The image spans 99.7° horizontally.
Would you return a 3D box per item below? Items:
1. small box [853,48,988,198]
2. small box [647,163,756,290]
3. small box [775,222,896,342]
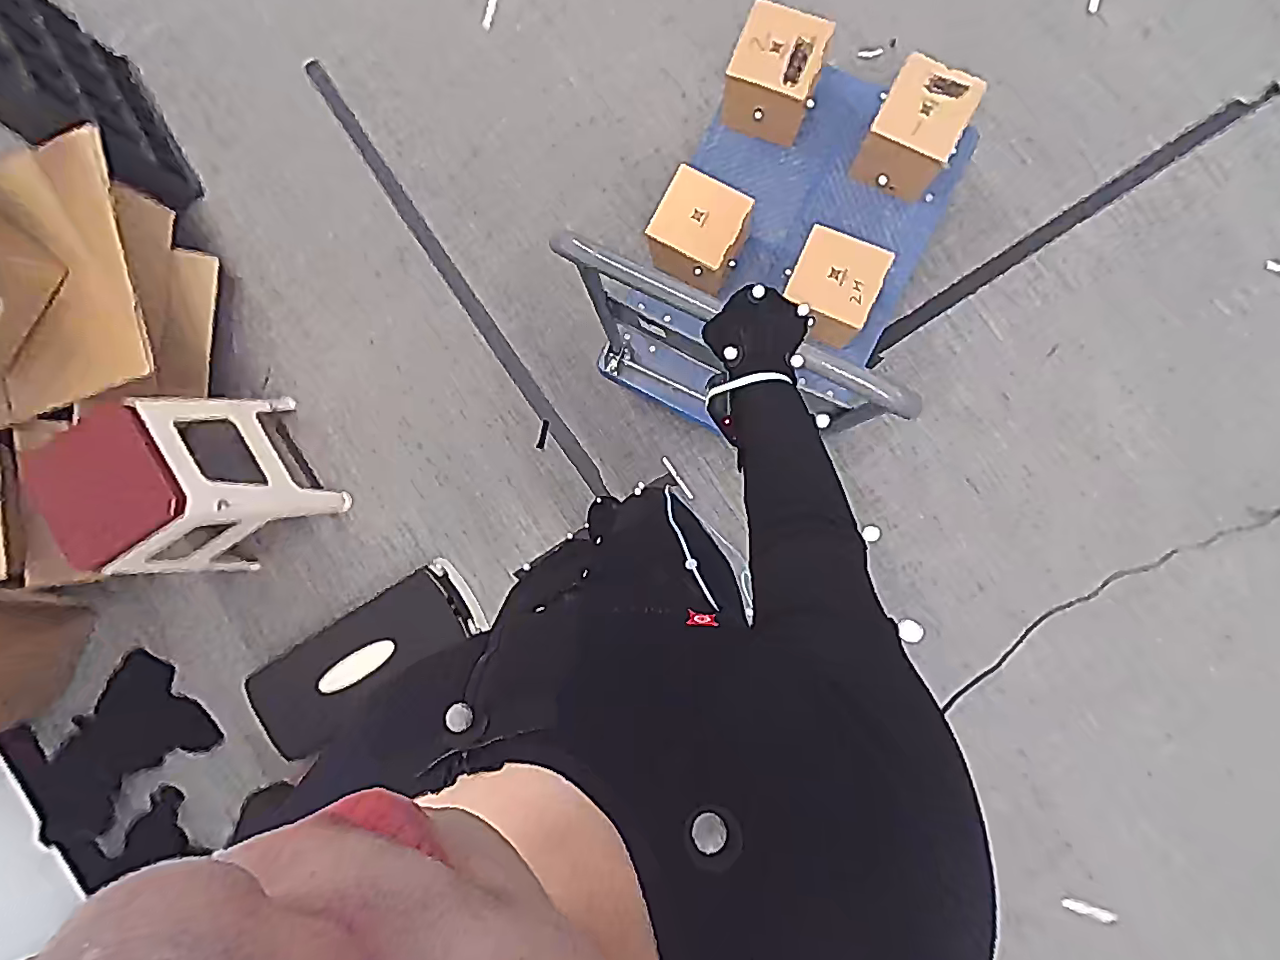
[{"bbox_3d":[0.583,-0.749,1.154,0.168,0.176,0.179,28,94,5],"label":"small box"},{"bbox_3d":[0.133,-0.550,1.201,0.179,0.176,0.168,28,93,4],"label":"small box"},{"bbox_3d":[0.411,-0.417,1.173,0.179,0.176,0.168,24,93,5],"label":"small box"}]
